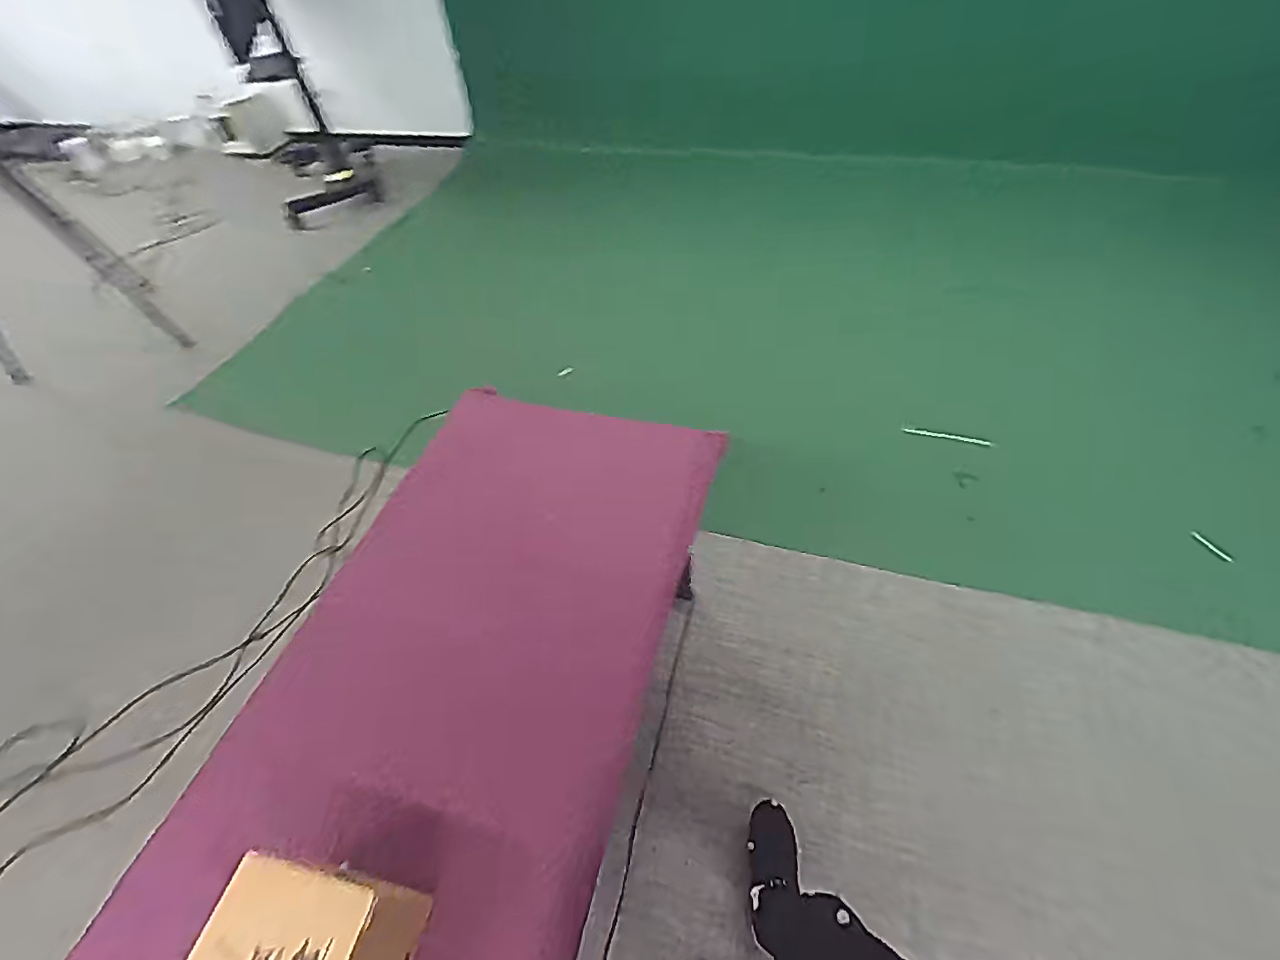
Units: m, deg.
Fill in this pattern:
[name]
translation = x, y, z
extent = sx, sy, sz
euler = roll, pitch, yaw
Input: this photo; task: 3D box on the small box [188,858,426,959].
[small box]
translation = -0.378, 0.552, 0.612
extent = 0.179, 0.176, 0.168
euler = 7, 52, 12
